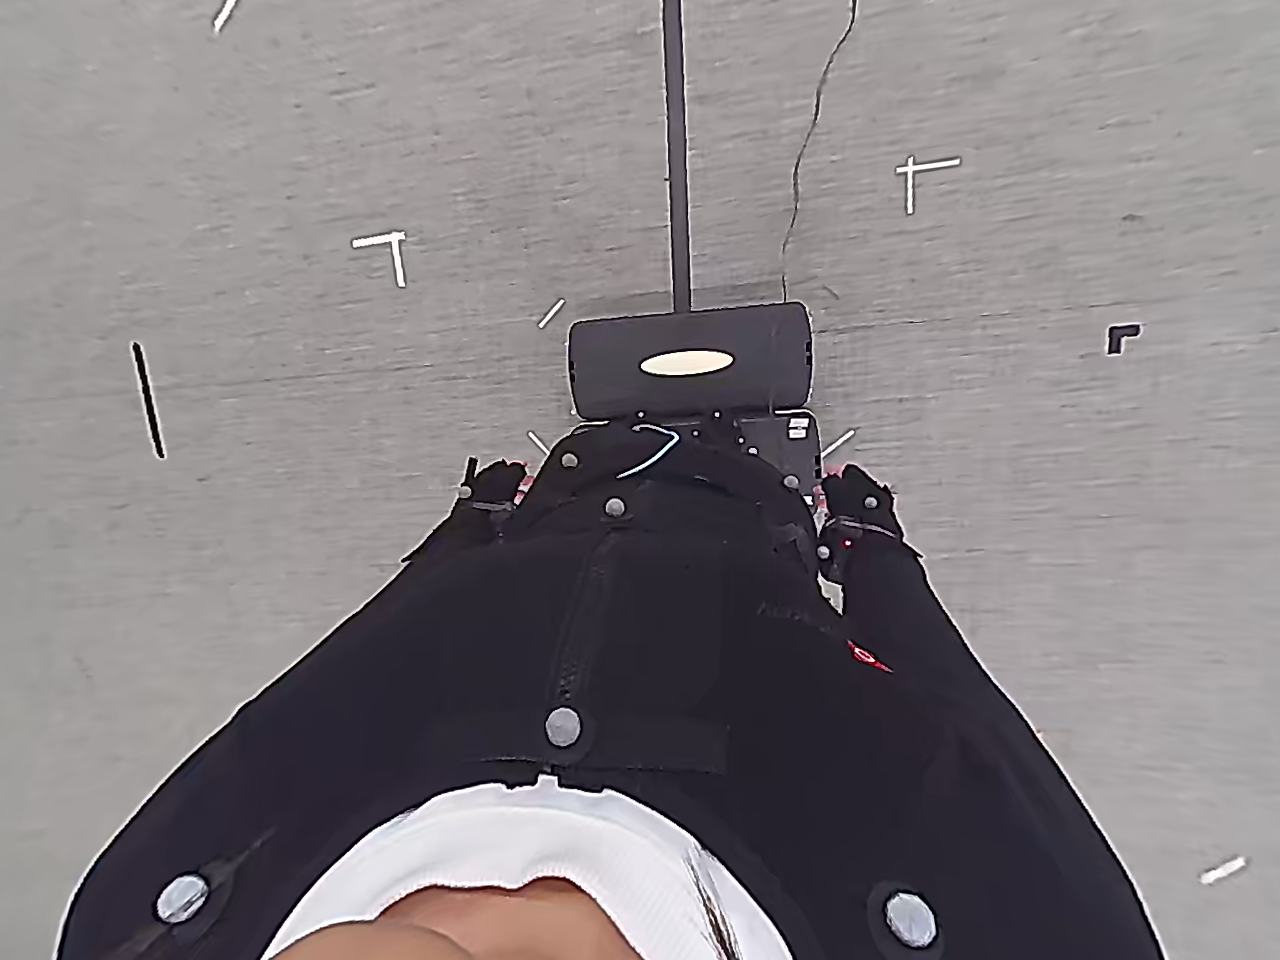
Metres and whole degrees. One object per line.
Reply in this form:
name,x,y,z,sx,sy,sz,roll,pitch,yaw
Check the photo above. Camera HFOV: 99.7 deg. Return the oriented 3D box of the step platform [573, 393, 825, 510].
step platform,0.157,-0.075,1.507,0.684,0.204,0.286,-3,99,10
